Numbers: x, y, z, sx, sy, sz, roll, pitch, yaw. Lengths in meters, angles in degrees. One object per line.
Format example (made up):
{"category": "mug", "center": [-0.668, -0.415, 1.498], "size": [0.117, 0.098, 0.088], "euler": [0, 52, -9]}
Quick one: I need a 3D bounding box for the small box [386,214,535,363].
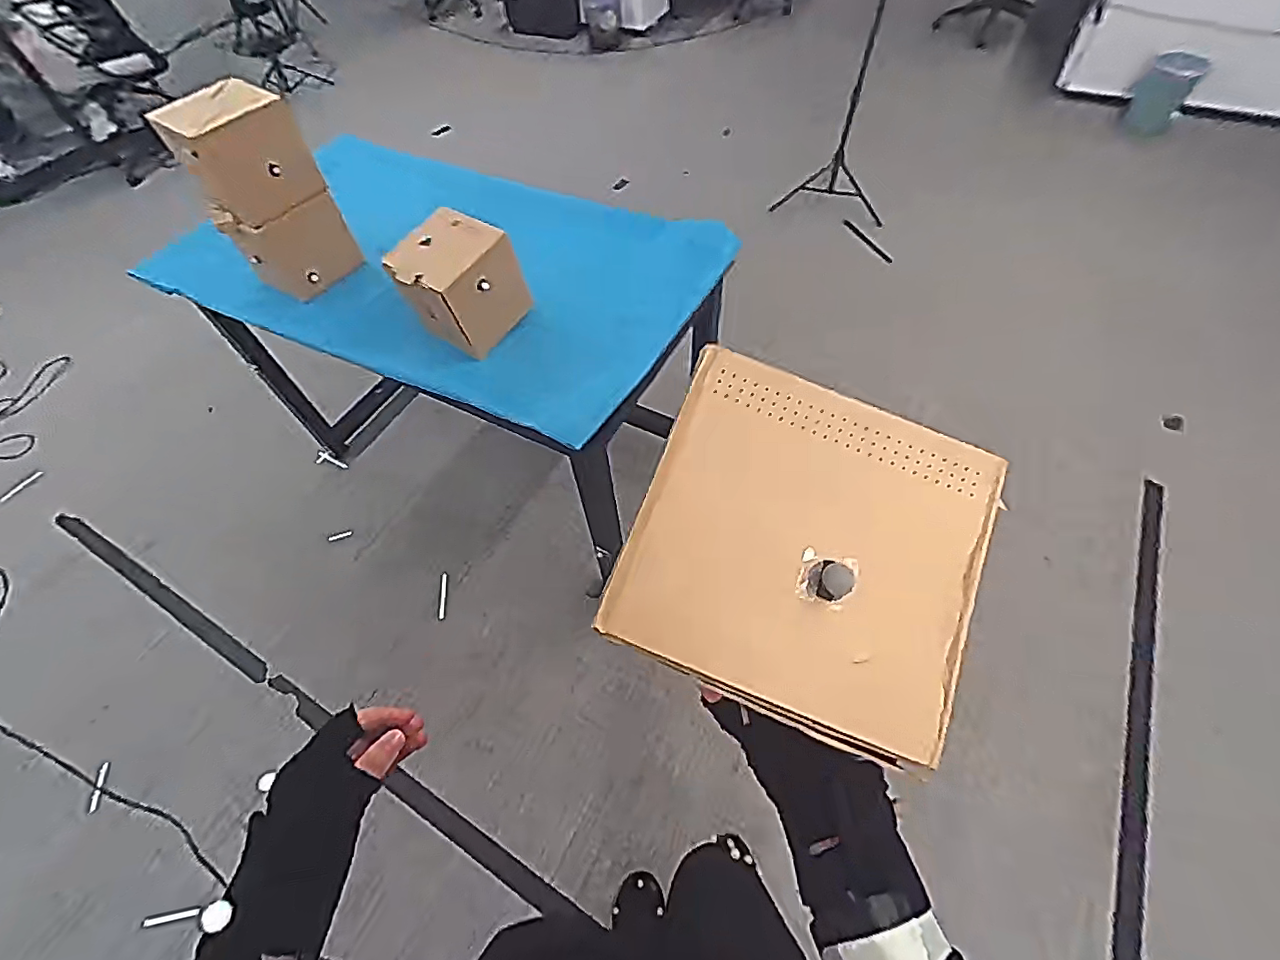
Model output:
{"category": "small box", "center": [-0.329, -0.365, 1.026], "size": [0.168, 0.179, 0.176], "euler": [31, 71, 21]}

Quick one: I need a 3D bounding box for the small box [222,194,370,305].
{"category": "small box", "center": [-0.738, -0.517, 1.166], "size": [0.168, 0.176, 0.179], "euler": [28, 63, 20]}

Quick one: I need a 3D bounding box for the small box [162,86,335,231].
{"category": "small box", "center": [-0.747, -0.620, 1.037], "size": [0.168, 0.176, 0.179], "euler": [32, 65, 22]}

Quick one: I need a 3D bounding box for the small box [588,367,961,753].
{"category": "small box", "center": [0.077, 0.049, 0.362], "size": [0.179, 0.168, 0.176], "euler": [21, 74, 2]}
